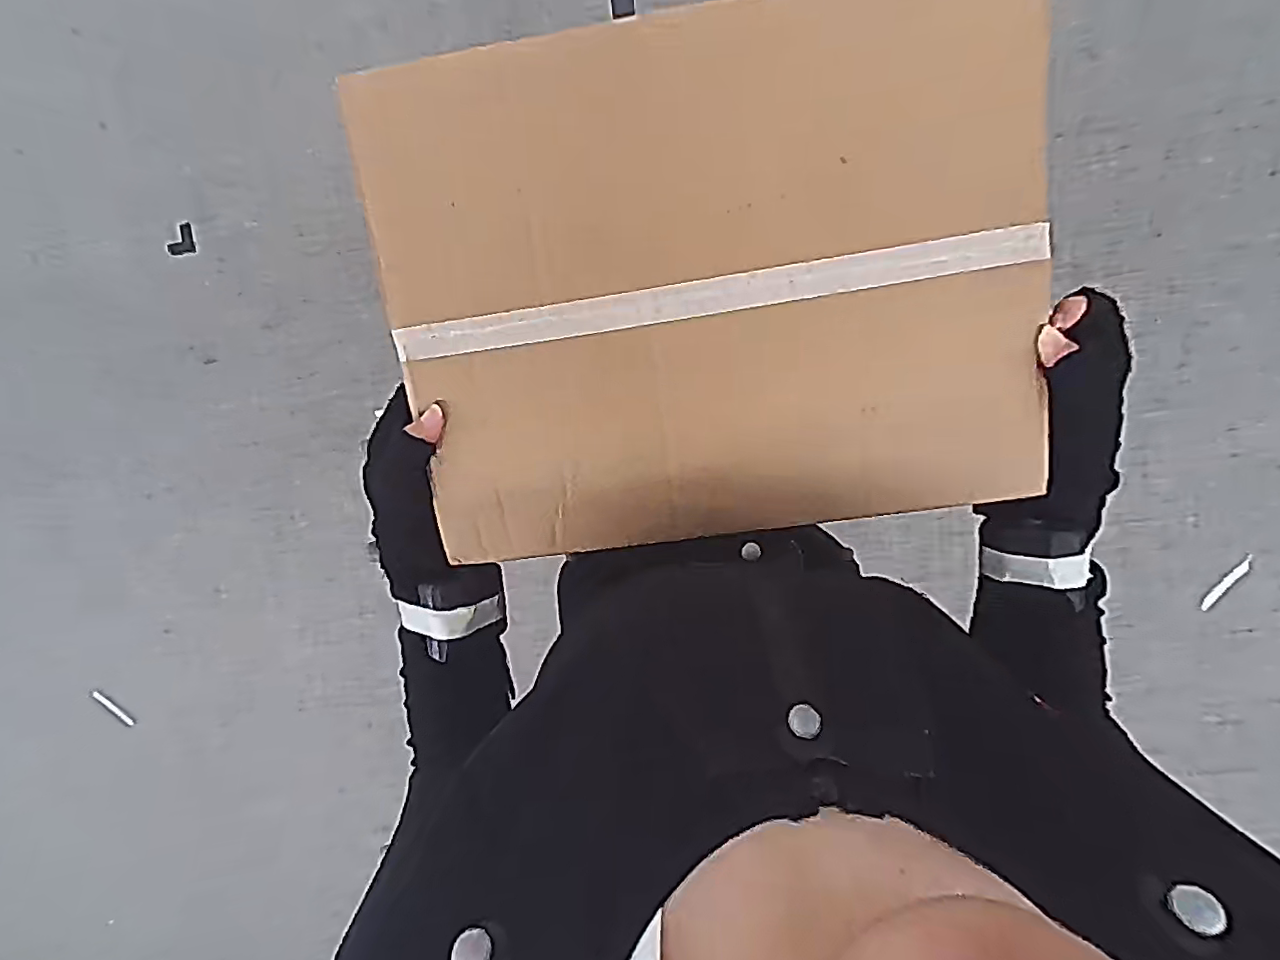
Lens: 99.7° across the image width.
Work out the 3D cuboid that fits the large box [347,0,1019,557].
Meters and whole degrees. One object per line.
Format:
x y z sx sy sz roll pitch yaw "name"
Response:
0.045 -0.152 0.493 0.408 0.320 0.320 -8 102 5 "large box"
